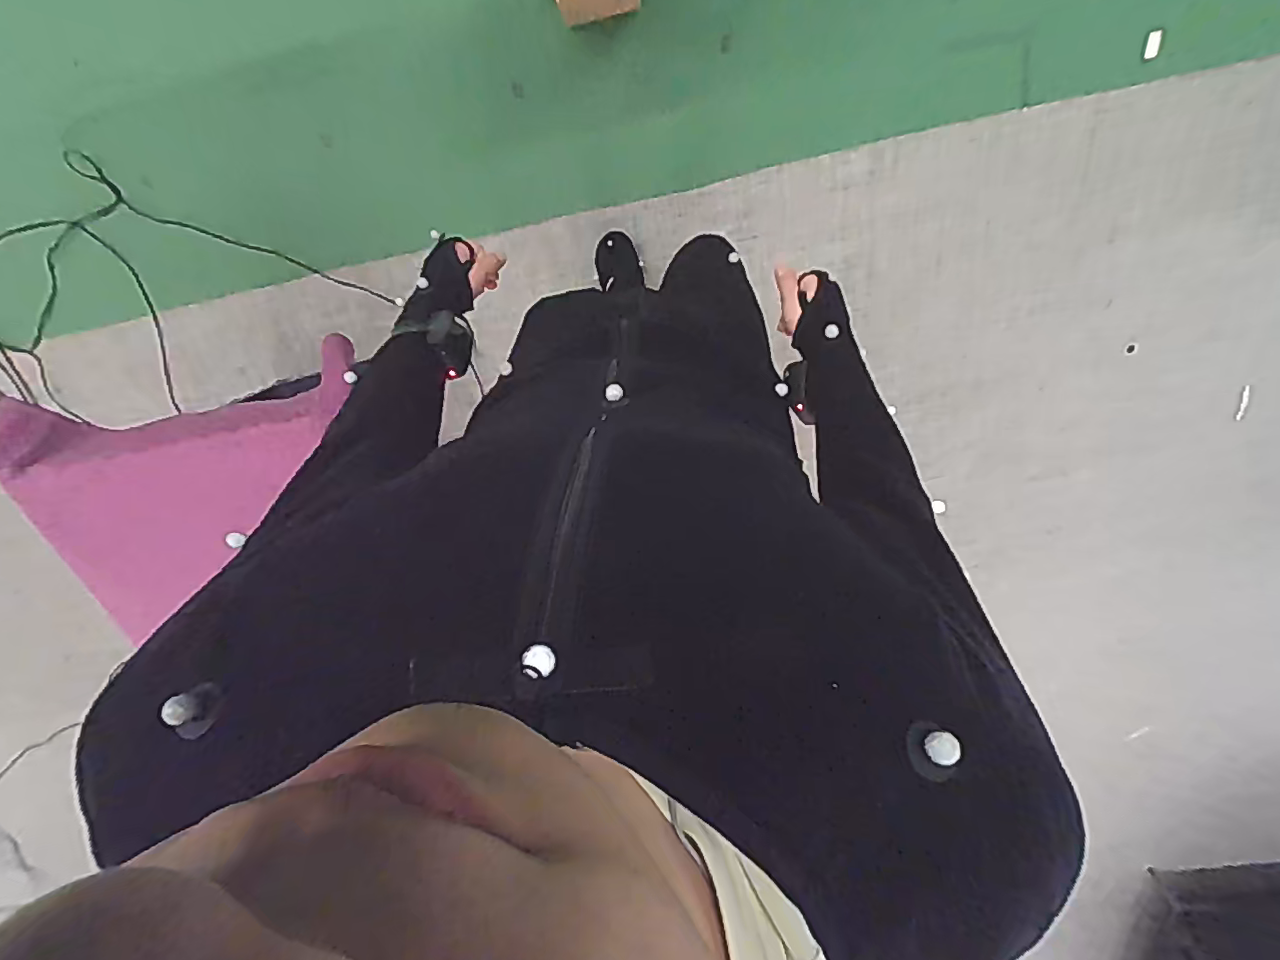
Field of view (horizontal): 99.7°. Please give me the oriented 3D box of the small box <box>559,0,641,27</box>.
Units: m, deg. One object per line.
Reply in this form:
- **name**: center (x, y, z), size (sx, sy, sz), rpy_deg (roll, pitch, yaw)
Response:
- **small box**: center (-0.092, -1.078, 1.115), size (0.179, 0.176, 0.168), rpy_deg (-10, 115, 6)
